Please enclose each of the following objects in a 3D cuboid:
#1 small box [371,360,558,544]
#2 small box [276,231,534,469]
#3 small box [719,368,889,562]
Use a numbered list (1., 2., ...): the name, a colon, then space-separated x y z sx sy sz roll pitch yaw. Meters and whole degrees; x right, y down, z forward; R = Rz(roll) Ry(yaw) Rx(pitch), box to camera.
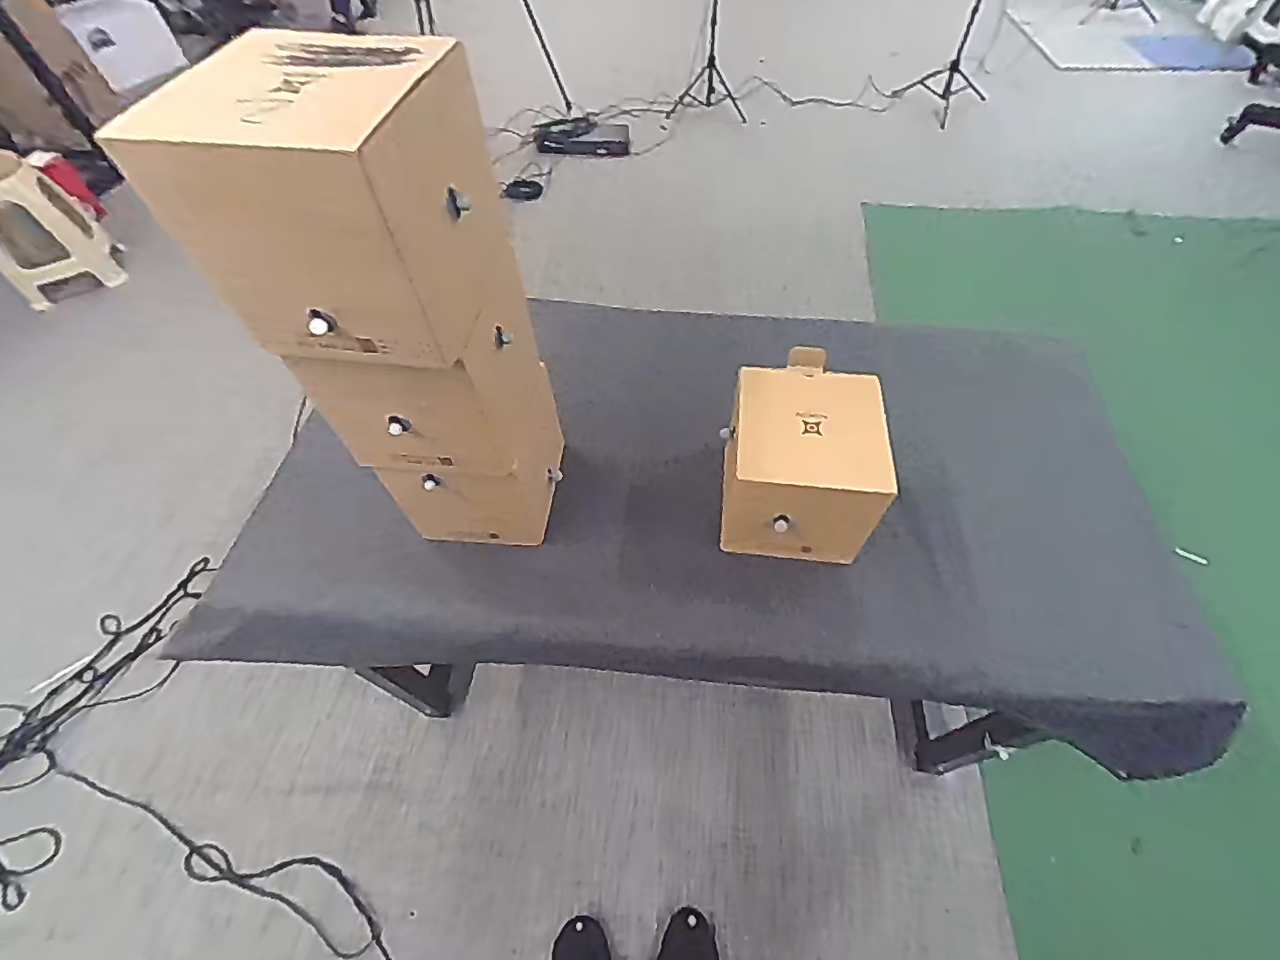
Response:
1. small box: -0.206 -0.038 0.696 0.168 0.176 0.179 4 54 4
2. small box: -0.215 -0.129 0.558 0.168 0.176 0.179 5 55 3
3. small box: 0.191 -0.014 0.674 0.168 0.176 0.179 6 55 5
